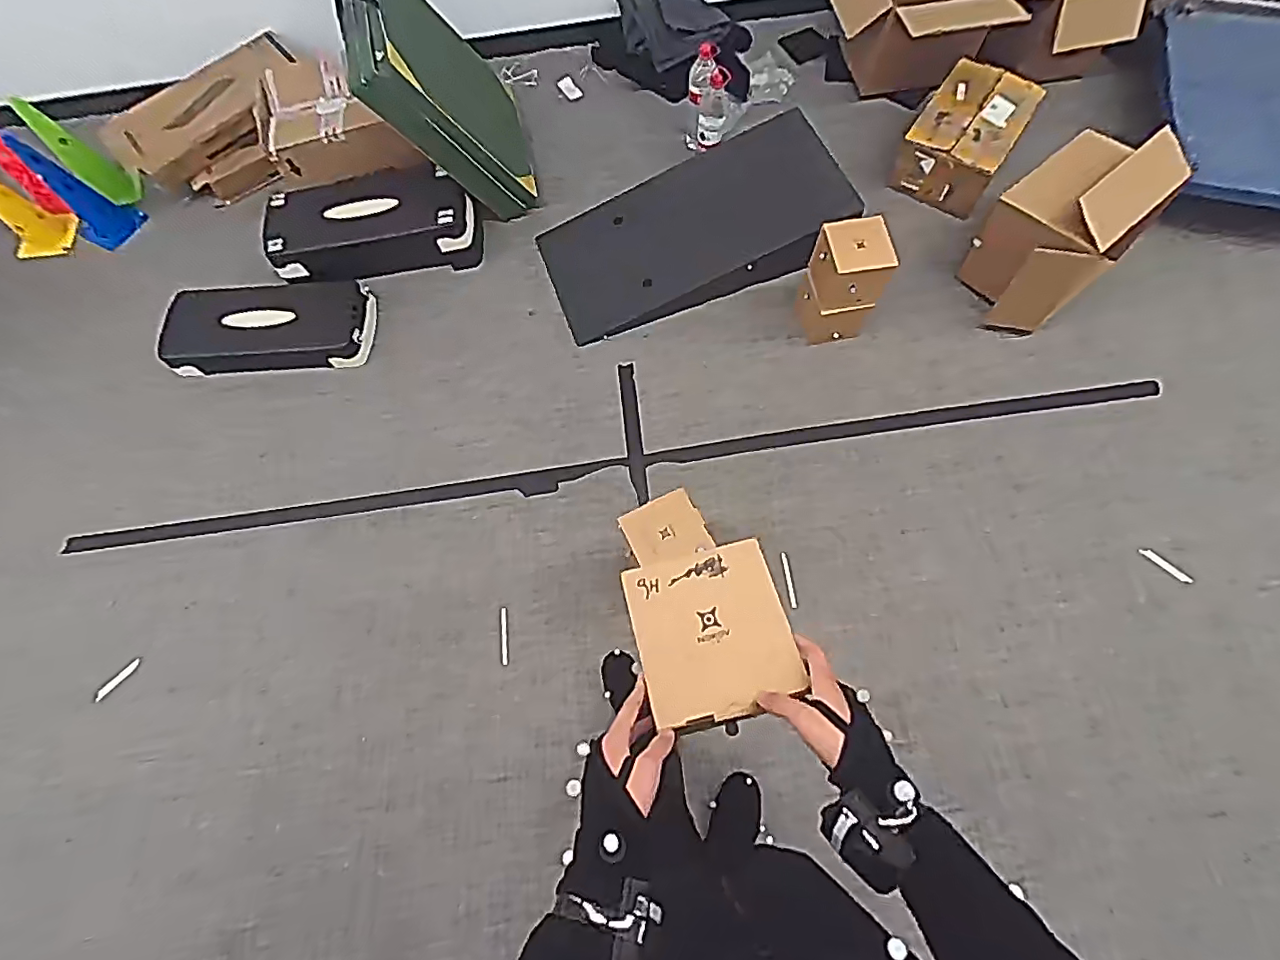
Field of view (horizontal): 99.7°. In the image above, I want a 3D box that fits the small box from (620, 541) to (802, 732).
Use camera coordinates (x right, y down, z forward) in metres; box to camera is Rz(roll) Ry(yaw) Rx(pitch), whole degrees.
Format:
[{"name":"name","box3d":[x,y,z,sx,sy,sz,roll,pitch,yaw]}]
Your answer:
[{"name":"small box","box3d":[0.080,0.200,0.664,0.168,0.176,0.179,-14,62,-2]}]
